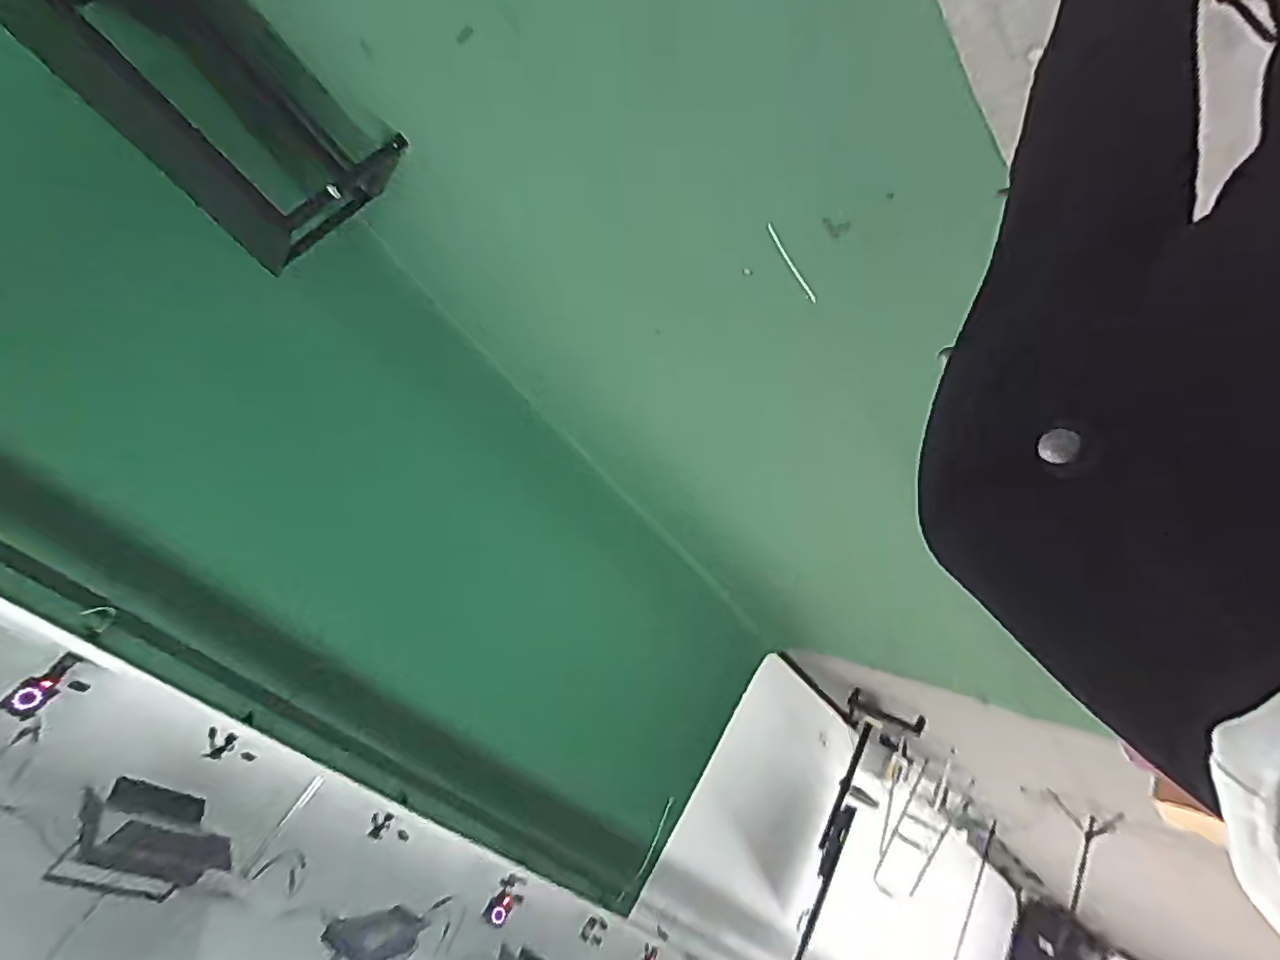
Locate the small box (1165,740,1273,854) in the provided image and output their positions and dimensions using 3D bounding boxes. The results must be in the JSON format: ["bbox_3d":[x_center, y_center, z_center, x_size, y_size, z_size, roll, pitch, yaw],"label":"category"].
[{"bbox_3d":[1.508,0.814,1.407,0.179,0.176,0.168,47,155,-23],"label":"small box"}]
